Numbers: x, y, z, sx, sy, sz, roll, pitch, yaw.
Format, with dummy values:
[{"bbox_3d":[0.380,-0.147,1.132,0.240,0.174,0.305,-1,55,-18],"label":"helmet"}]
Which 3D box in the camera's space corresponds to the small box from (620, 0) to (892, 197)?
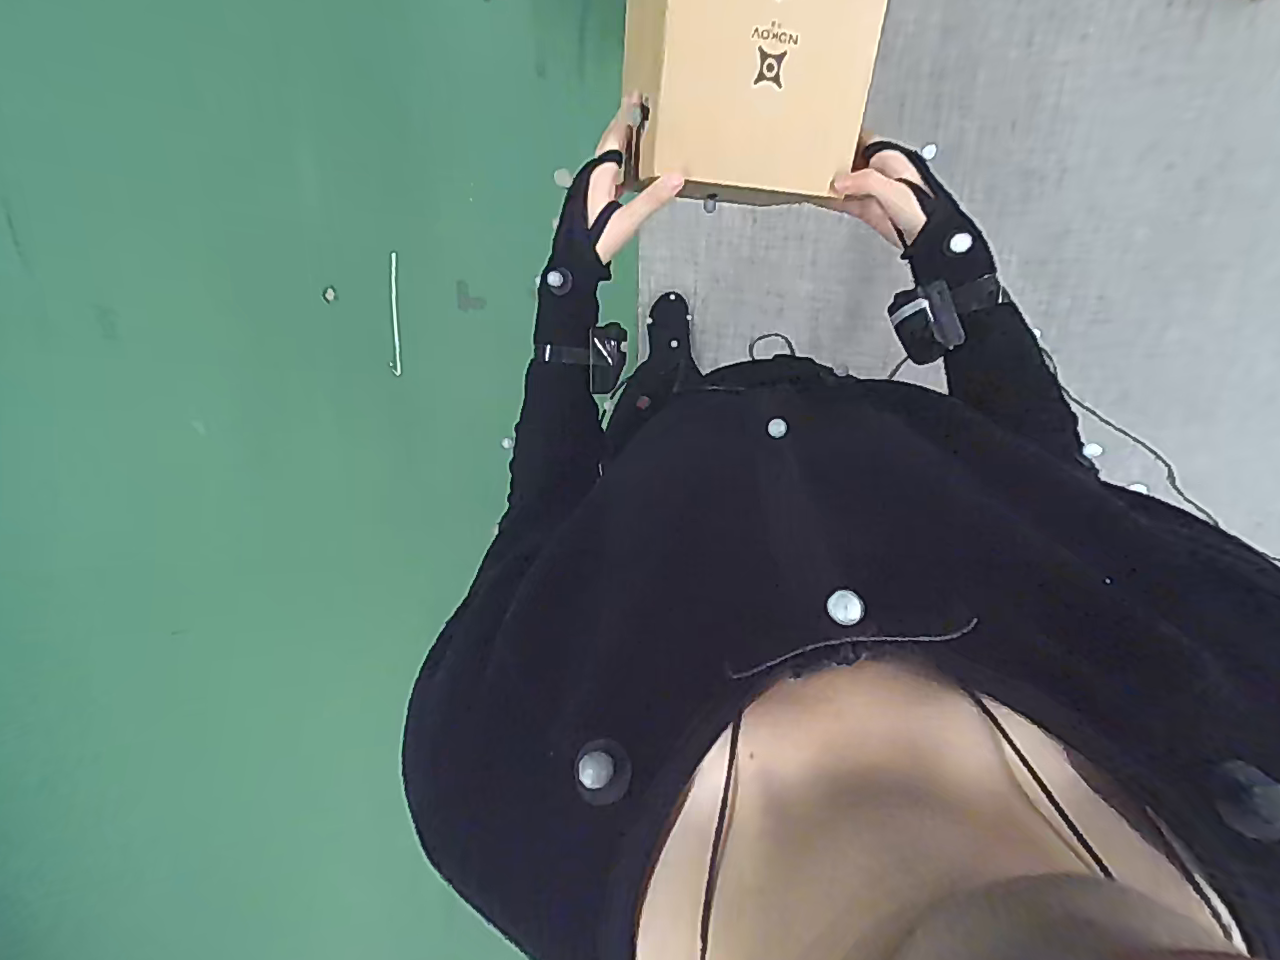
[{"bbox_3d":[0.081,-0.347,0.456,0.168,0.176,0.179,0,114,-14],"label":"small box"}]
